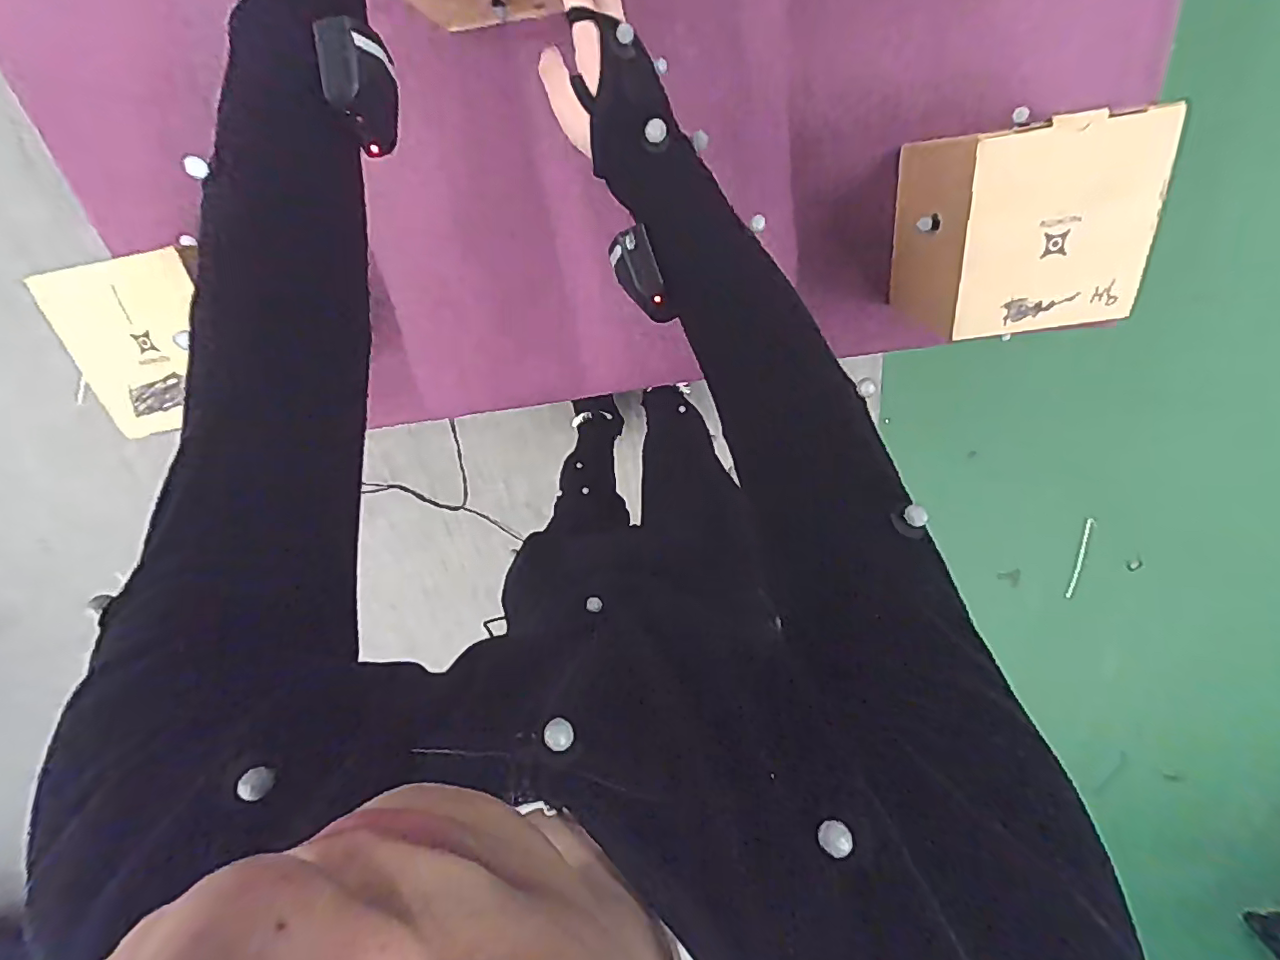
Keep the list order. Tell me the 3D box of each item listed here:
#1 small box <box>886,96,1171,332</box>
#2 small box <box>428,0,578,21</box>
[{"bbox_3d":[0.368,-0.268,0.557,0.168,0.176,0.179,-6,119,7],"label":"small box"},{"bbox_3d":[-0.137,-0.518,0.444,0.168,0.176,0.179,-6,121,5],"label":"small box"}]
